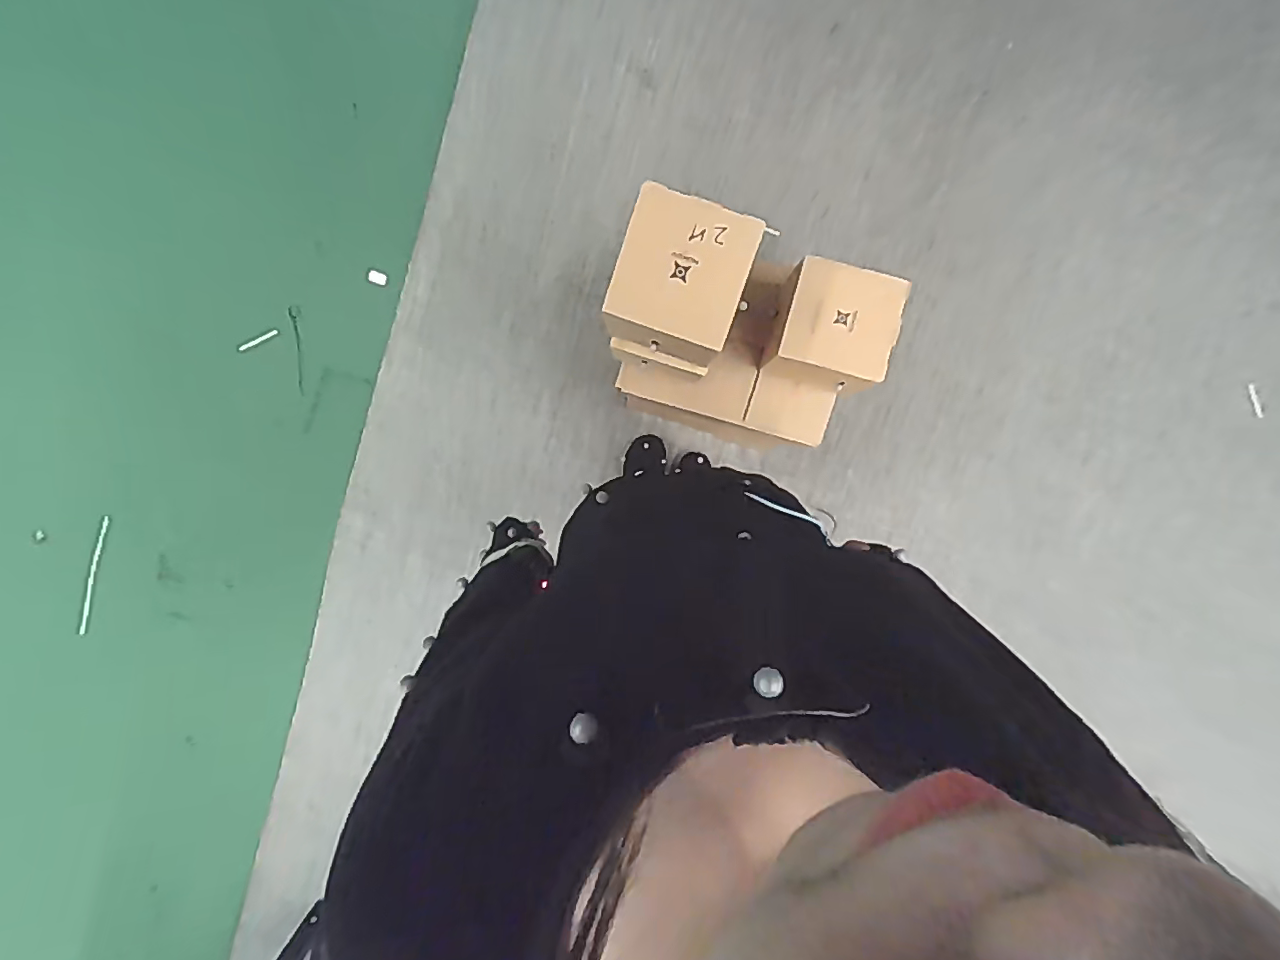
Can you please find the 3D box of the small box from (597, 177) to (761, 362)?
[{"bbox_3d":[0.050,-0.280,0.767,0.168,0.176,0.179,20,95,-2],"label":"small box"}]

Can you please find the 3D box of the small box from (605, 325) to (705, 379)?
[{"bbox_3d":[0.048,-0.283,0.932,0.168,0.176,0.179,18,95,-2],"label":"small box"}]

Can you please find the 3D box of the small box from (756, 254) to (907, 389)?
[{"bbox_3d":[0.317,-0.260,0.932,0.179,0.176,0.168,17,94,1],"label":"small box"}]
